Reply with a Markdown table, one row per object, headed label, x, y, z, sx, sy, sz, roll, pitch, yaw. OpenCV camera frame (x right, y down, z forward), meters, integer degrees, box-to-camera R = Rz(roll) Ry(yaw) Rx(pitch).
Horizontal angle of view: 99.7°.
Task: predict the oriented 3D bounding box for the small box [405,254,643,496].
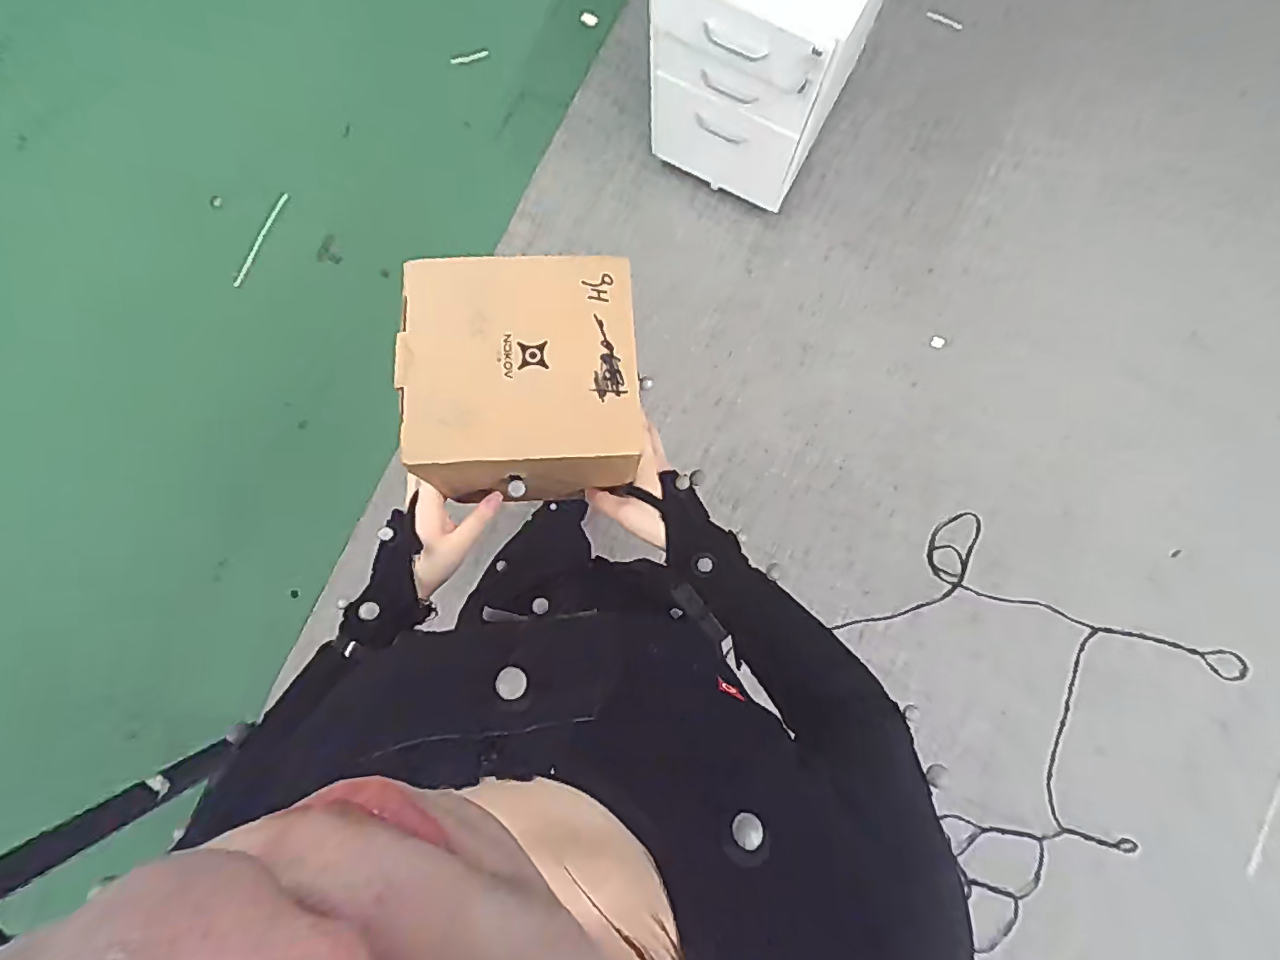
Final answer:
| label | x | y | z | sx | sy | sz | roll | pitch | yaw |
| --- | --- | --- | --- | --- | --- | --- | --- | --- | --- |
| small box | -0.093 | -0.081 | 0.490 | 0.179 | 0.176 | 0.168 | -3 | 79 | -5 |
